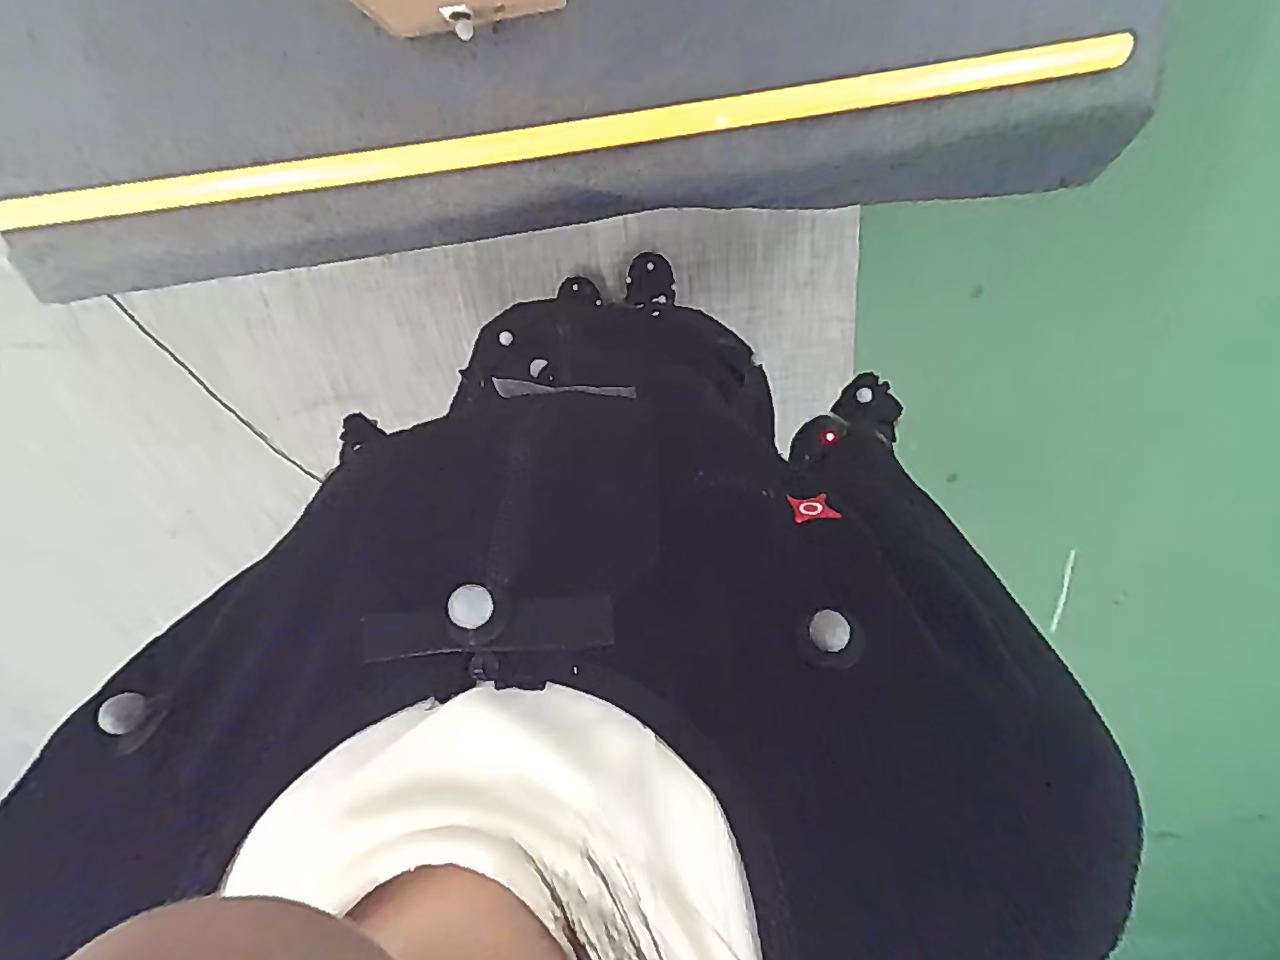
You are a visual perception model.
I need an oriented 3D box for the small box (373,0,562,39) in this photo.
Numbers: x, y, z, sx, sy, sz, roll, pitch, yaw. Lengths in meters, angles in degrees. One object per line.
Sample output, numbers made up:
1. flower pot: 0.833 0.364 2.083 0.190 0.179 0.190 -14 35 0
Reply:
1. small box: -0.164 -0.485 0.414 0.168 0.176 0.179 -8 115 6
